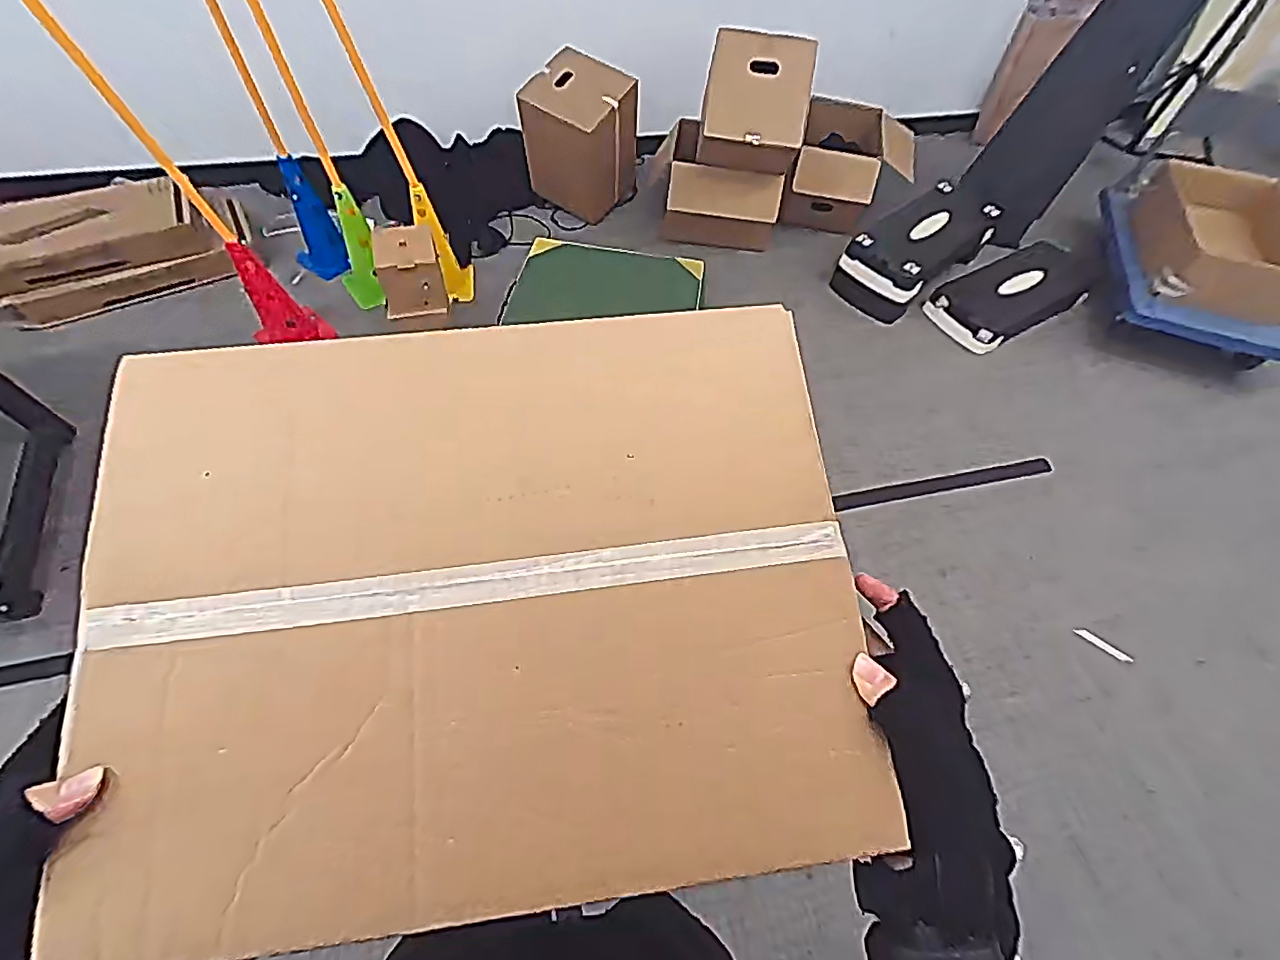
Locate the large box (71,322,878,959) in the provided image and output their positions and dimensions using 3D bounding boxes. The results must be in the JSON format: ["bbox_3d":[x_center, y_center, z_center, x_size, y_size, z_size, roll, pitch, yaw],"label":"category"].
[{"bbox_3d":[-0.095,0.102,0.448,0.408,0.320,0.320,-6,74,-4],"label":"large box"}]
